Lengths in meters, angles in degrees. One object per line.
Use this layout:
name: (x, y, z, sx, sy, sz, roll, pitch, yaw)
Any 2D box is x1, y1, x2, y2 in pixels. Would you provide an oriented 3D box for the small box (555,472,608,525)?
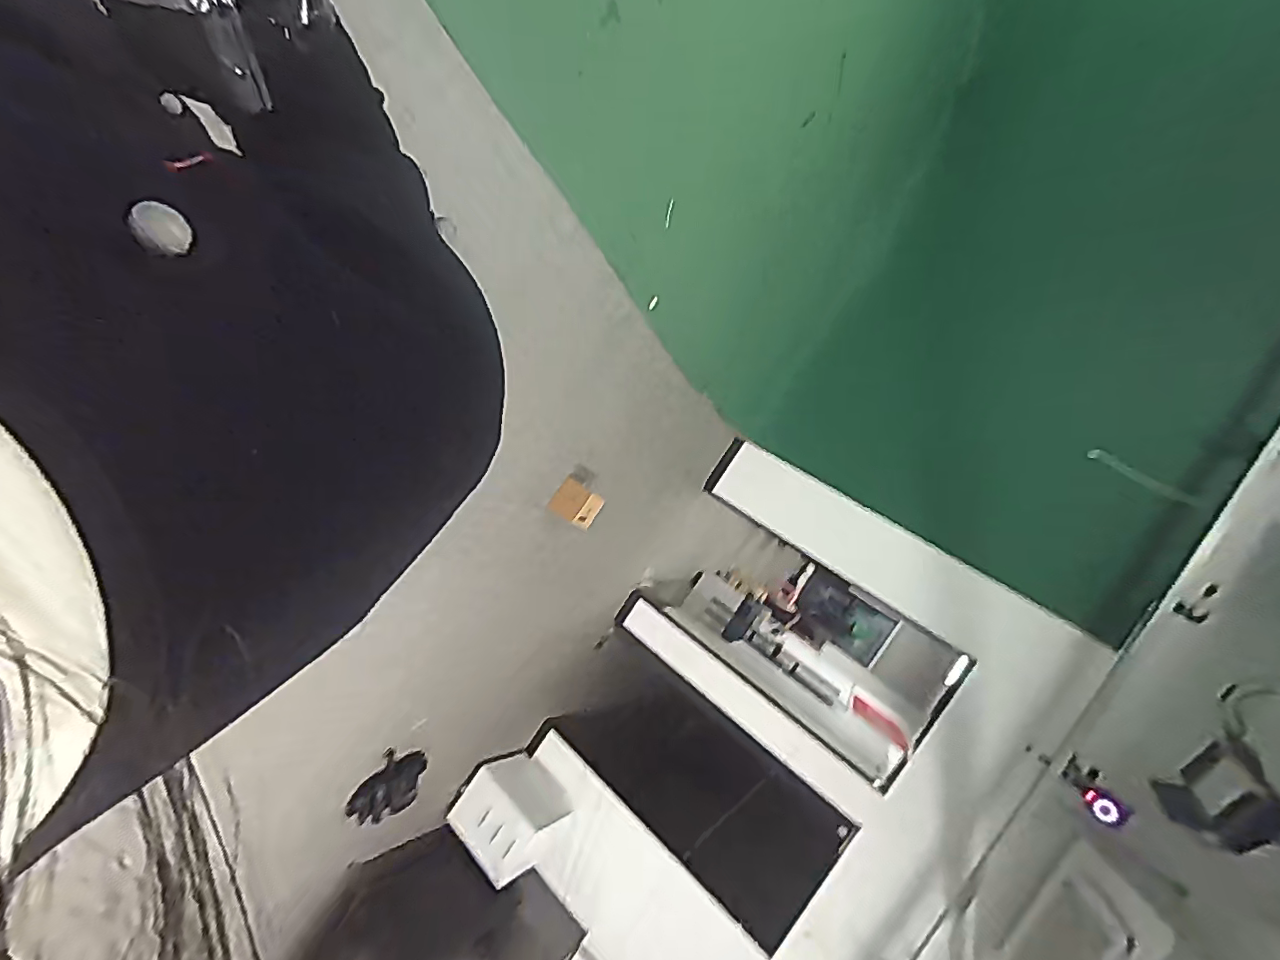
small box: (-0.297, 0.090, 2.664, 0.179, 0.176, 0.168, -54, 155, -4)
